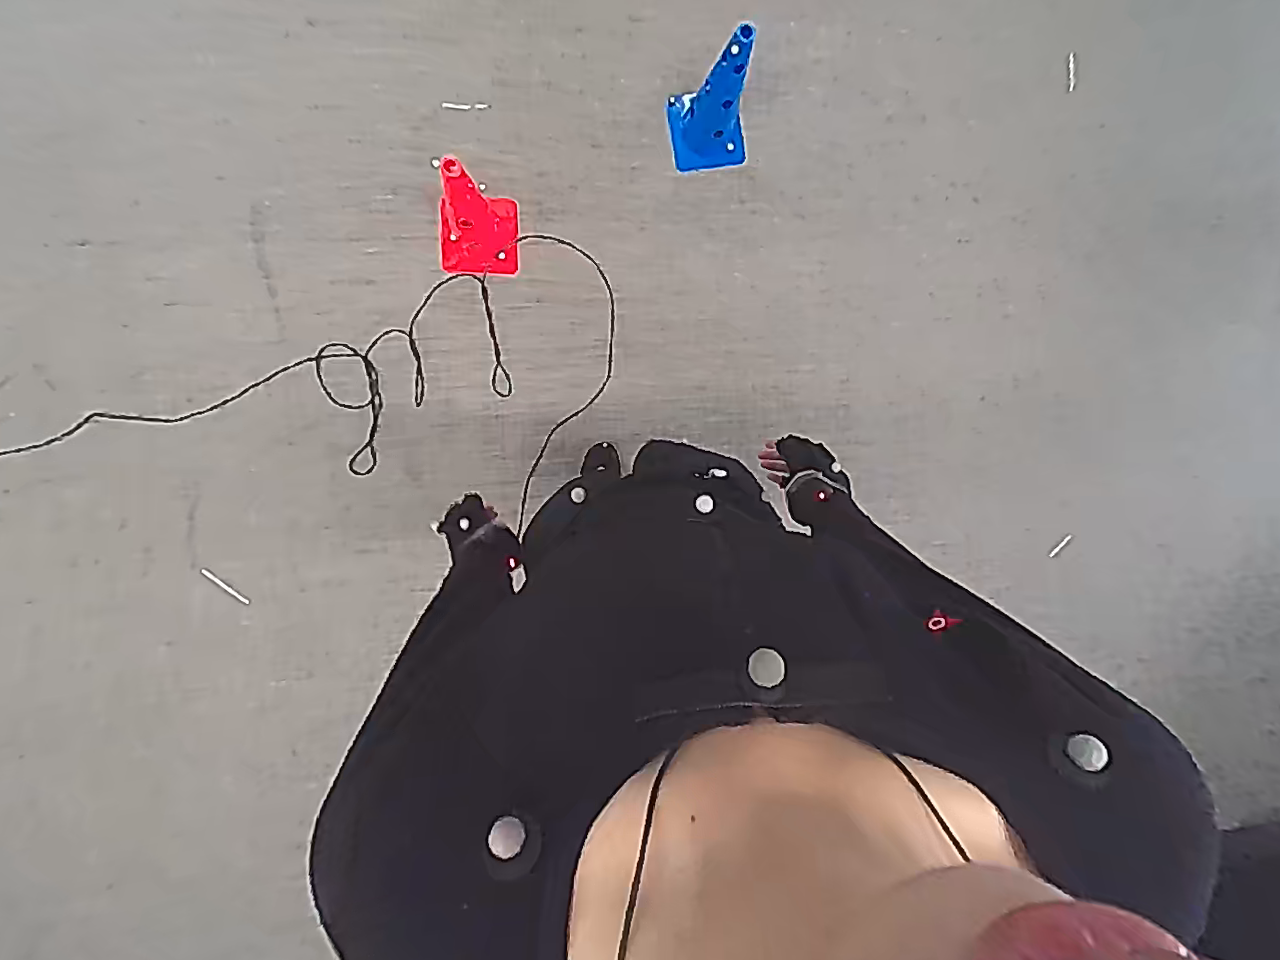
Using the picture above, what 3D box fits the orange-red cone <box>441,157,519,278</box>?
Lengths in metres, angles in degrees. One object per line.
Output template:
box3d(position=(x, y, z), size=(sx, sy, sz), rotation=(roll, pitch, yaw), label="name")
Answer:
box3d(position=(-0.396, -0.631, 1.246), size=(0.198, 0.360, 0.199), rotation=(1, 91, -8), label="orange-red cone")
